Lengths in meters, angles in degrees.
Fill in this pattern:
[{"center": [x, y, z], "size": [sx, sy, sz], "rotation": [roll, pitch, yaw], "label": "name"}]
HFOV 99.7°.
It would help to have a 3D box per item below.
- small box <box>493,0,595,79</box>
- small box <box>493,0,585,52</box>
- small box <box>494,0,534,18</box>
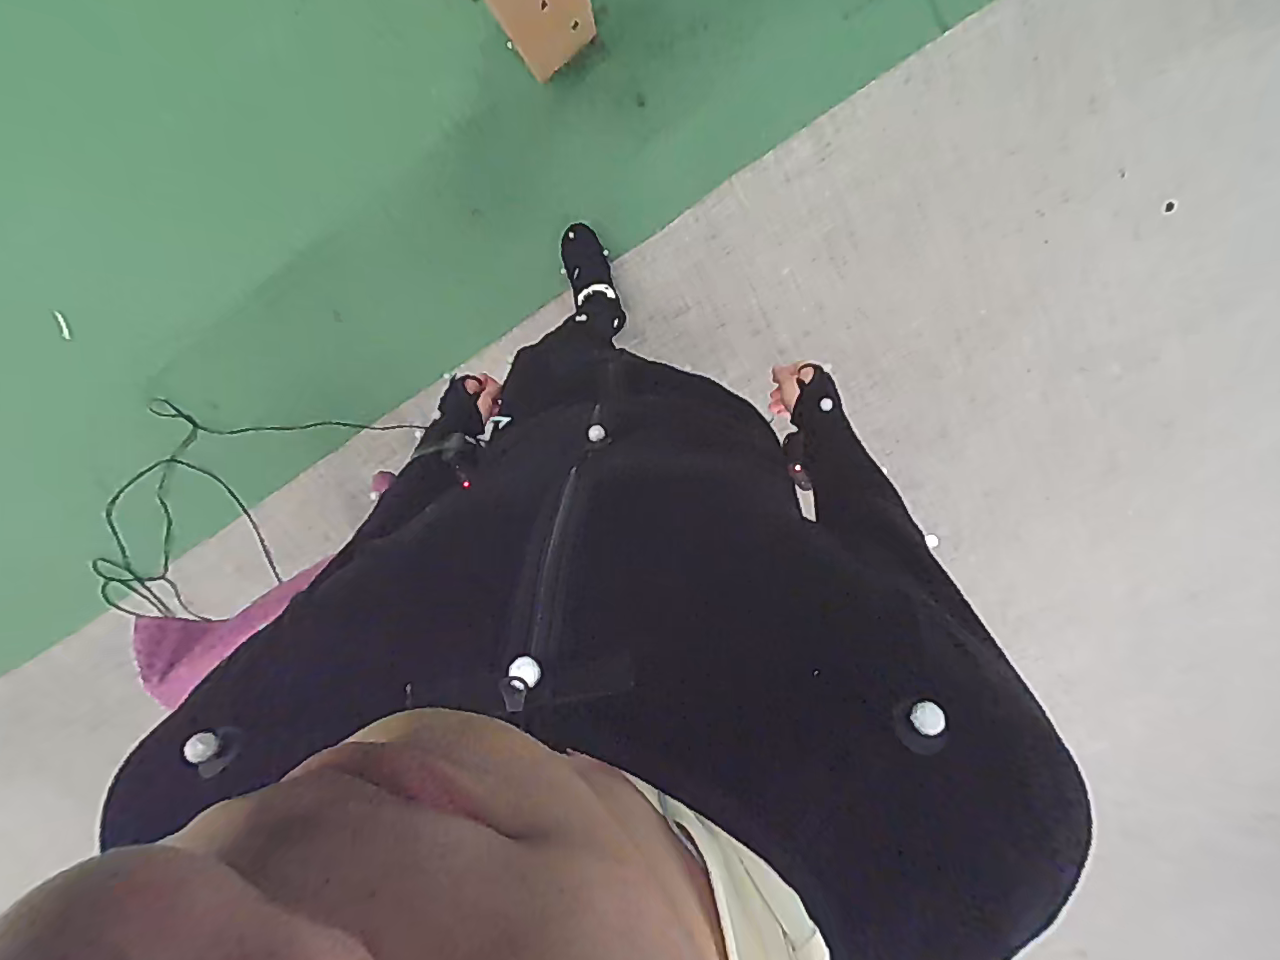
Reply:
[{"center": [-0.212, -1.046, 1.197], "size": [0.179, 0.176, 0.168], "rotation": [-34, 106, 12], "label": "small box"}, {"center": [-0.215, -0.991, 1.045], "size": [0.179, 0.176, 0.168], "rotation": [-32, 106, 13], "label": "small box"}, {"center": [-0.223, -0.930, 0.893], "size": [0.179, 0.176, 0.168], "rotation": [-35, 106, 12], "label": "small box"}]
